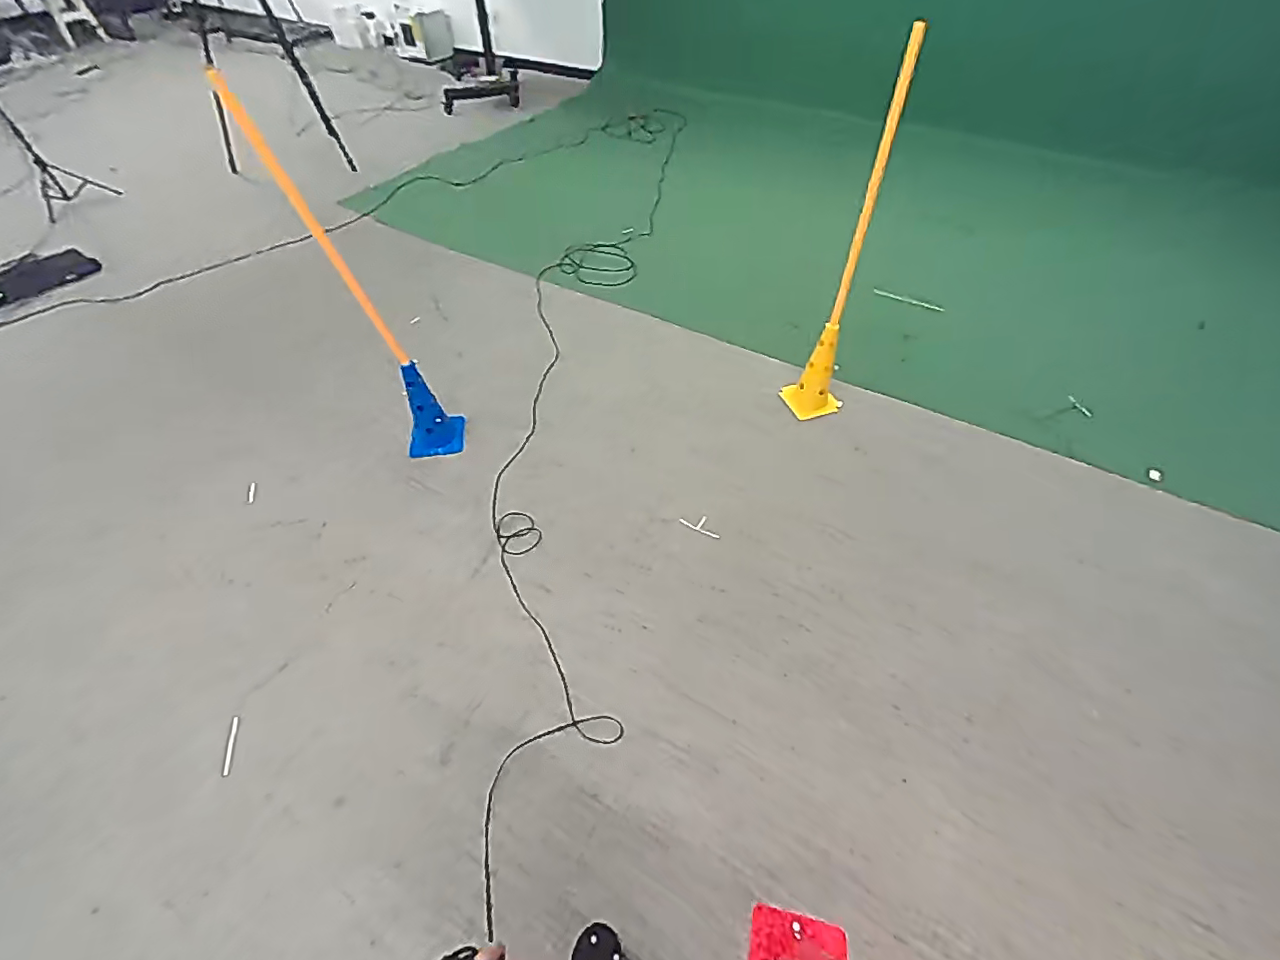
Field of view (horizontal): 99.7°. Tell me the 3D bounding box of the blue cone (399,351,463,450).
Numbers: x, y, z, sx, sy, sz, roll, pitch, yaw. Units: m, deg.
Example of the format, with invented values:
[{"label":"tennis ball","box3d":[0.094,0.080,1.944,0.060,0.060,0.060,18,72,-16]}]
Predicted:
[{"label":"blue cone","box3d":[-0.775,-0.292,1.927,0.193,0.380,0.192,-9,52,-6]}]
